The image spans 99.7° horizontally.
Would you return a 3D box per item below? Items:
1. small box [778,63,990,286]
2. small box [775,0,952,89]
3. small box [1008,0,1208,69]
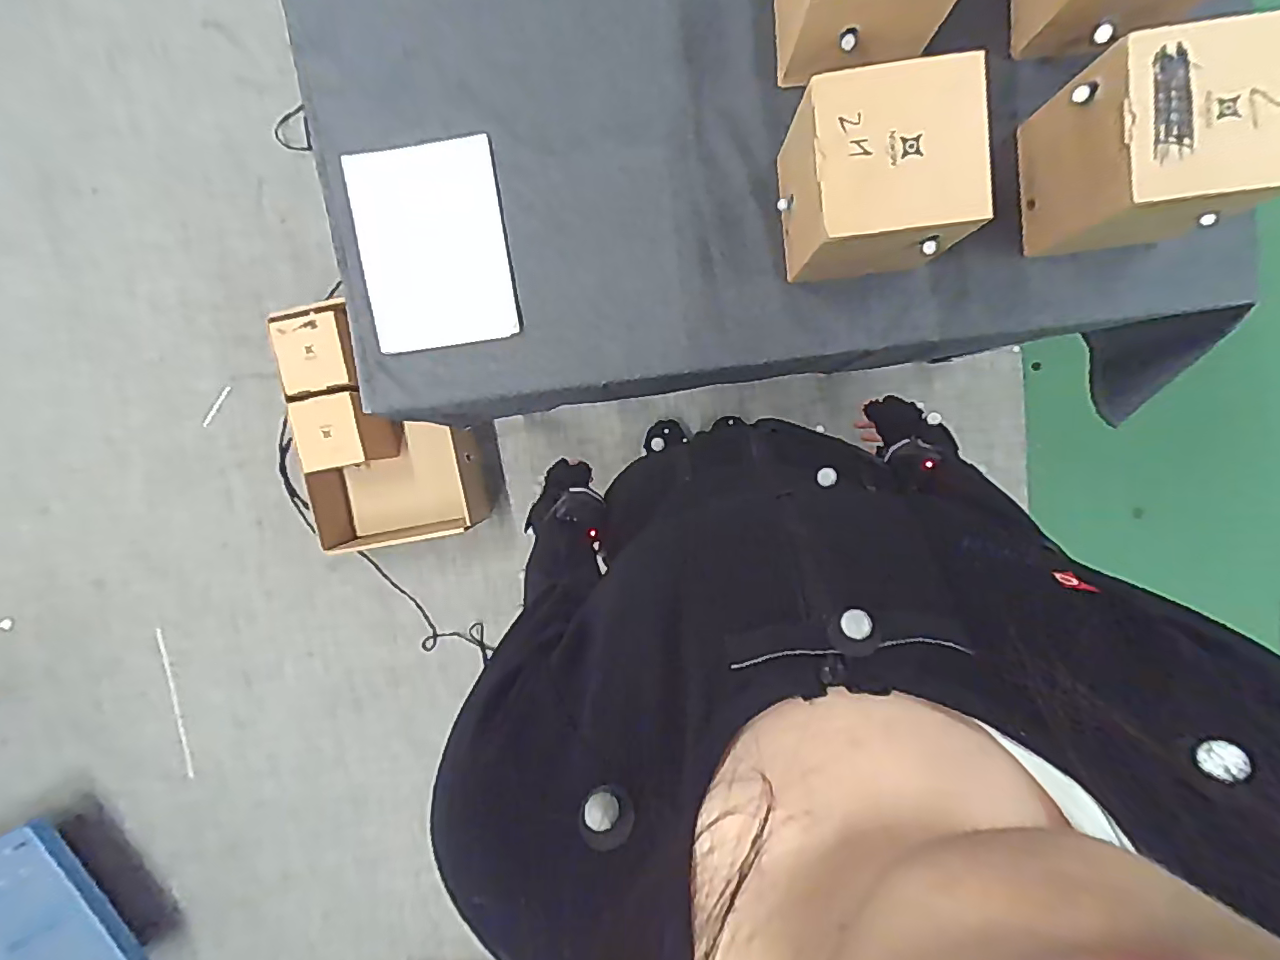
[{"bbox_3d":[0.272,-0.340,0.636,0.179,0.176,0.168,-6,93,4],"label":"small box"},{"bbox_3d":[0.253,-0.584,0.620,0.168,0.176,0.179,-3,94,3],"label":"small box"},{"bbox_3d":[0.542,-0.608,0.600,0.168,0.176,0.179,-4,95,4],"label":"small box"}]
